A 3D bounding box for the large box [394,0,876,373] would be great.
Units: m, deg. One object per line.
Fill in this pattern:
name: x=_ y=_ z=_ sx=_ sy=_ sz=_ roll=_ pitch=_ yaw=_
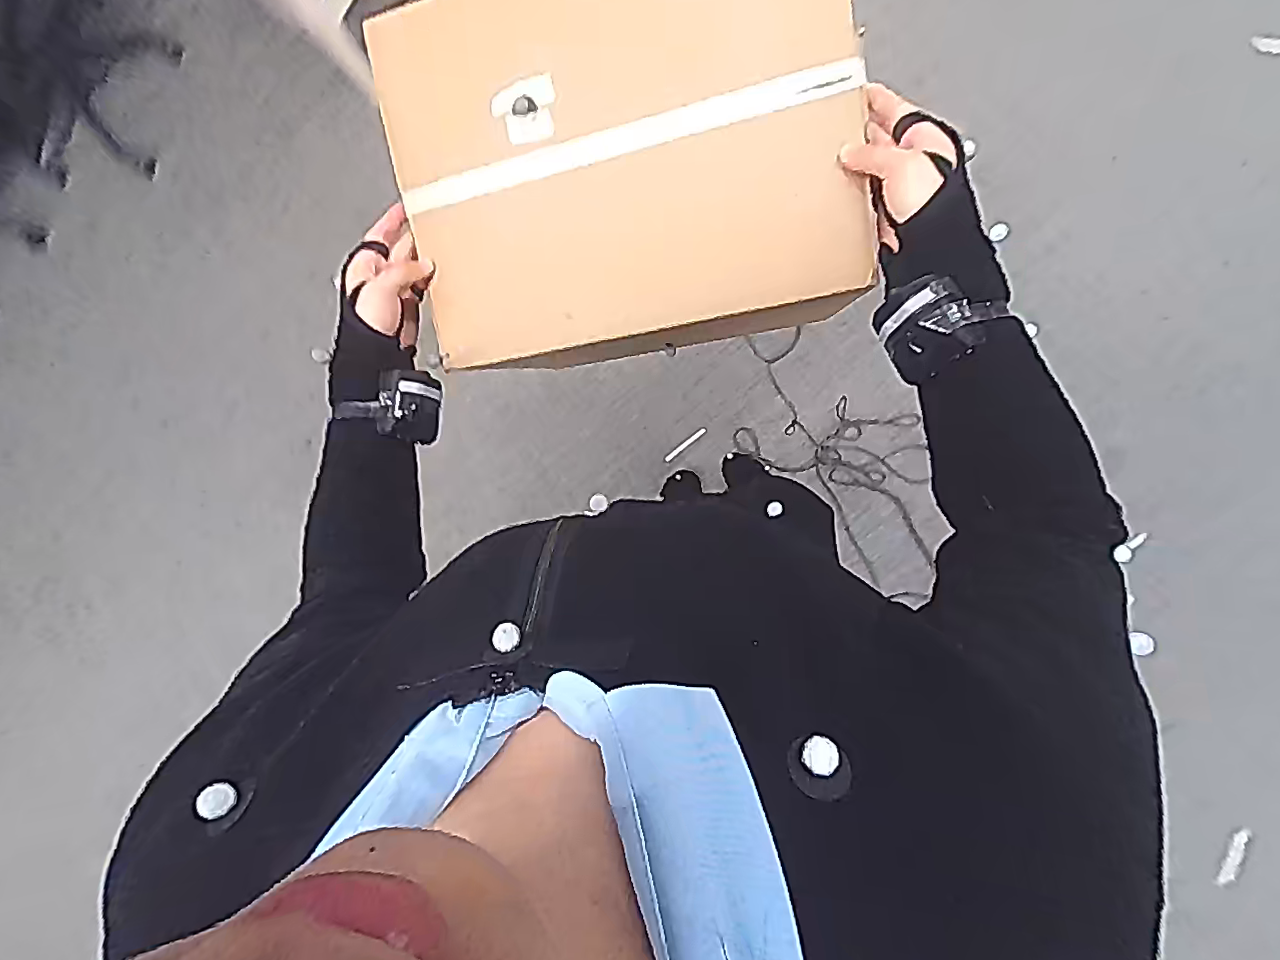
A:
large box: x=0.017 y=-0.314 z=0.623 sx=0.408 sy=0.320 sz=0.320 roll=-7 pitch=99 yaw=14
